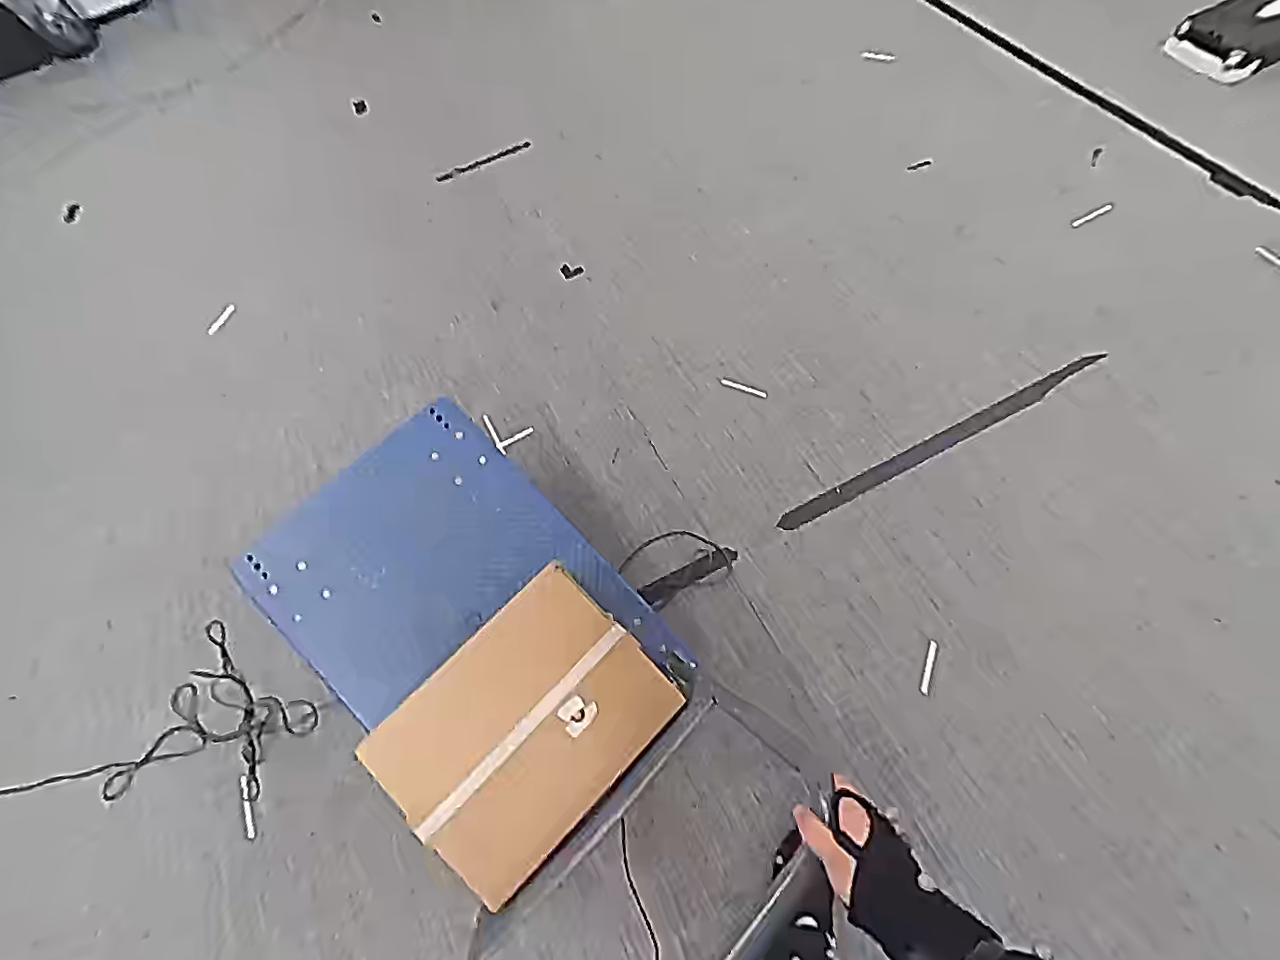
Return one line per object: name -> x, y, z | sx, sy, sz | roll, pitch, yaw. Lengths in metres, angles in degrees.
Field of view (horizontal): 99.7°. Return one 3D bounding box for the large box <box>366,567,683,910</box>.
large box -> -0.185, 0.421, 0.982 | 0.320, 0.320, 0.408 | 44, 76, 5
